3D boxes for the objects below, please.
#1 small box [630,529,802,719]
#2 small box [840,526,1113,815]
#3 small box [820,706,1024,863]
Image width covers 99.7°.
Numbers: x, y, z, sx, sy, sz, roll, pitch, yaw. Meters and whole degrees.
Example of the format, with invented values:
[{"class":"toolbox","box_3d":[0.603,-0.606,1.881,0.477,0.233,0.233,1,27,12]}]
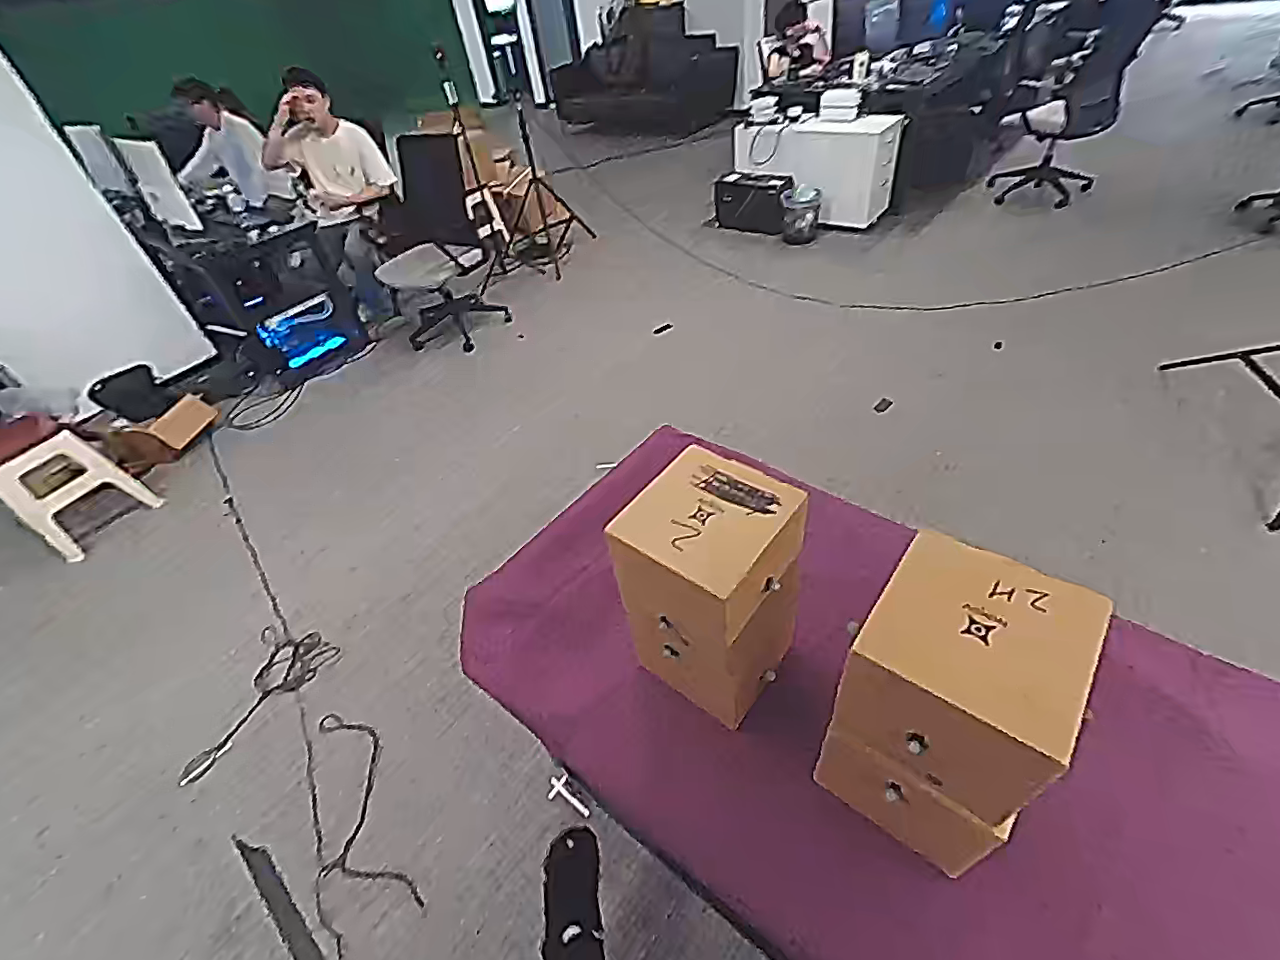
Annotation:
[{"class":"small box","box_3d":[0.110,0.209,0.783,0.179,0.176,0.168,26,54,31]},{"class":"small box","box_3d":[0.314,0.186,0.534,0.168,0.176,0.179,26,54,32]},{"class":"small box","box_3d":[0.335,0.311,0.640,0.179,0.176,0.168,26,54,32]}]
